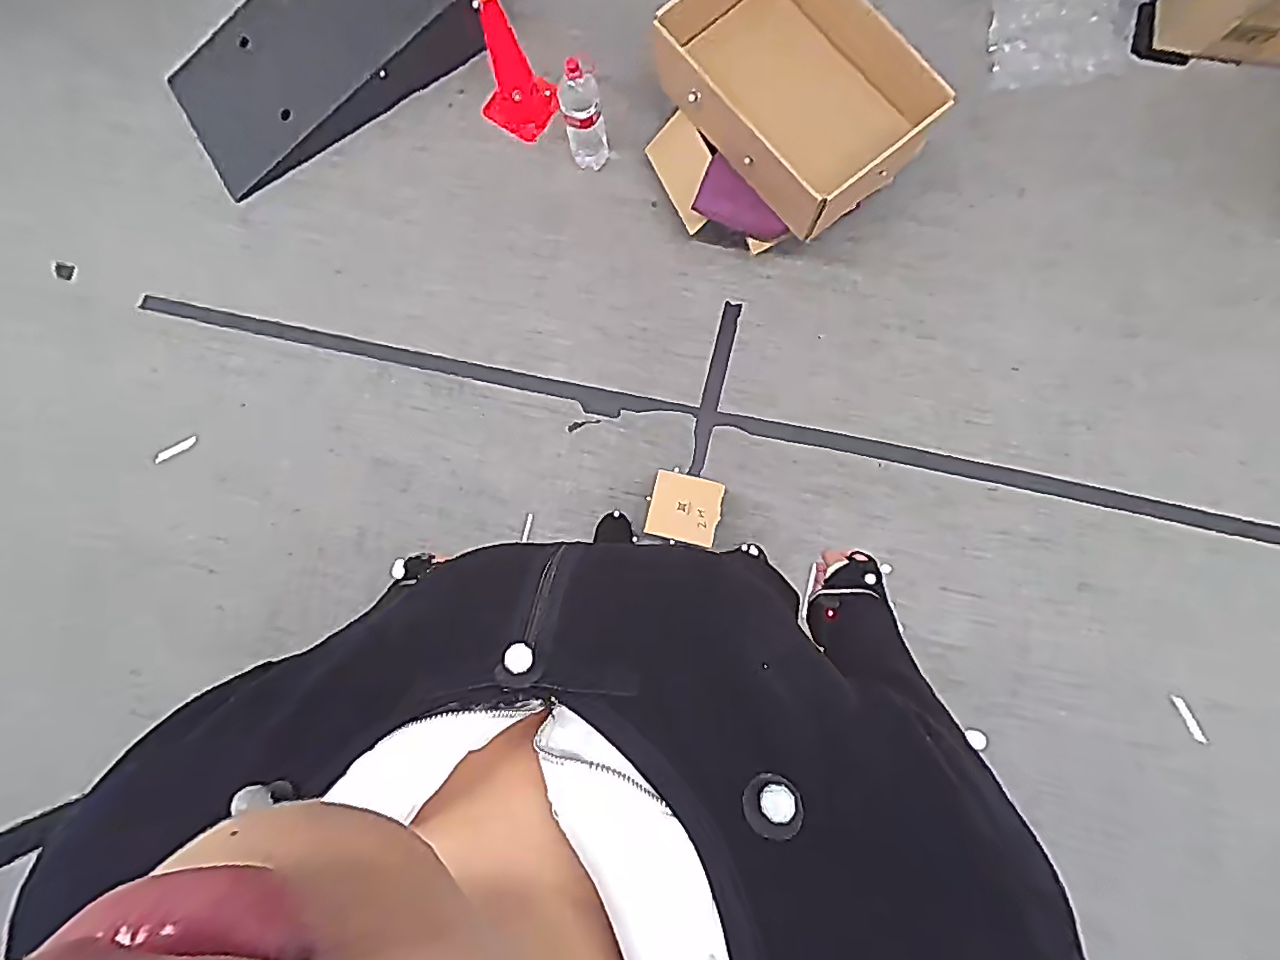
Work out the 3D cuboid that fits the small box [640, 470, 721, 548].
[{"bbox_3d":[0.105,0.078,1.433,0.179,0.176,0.168,14,86,3],"label":"small box"}]
